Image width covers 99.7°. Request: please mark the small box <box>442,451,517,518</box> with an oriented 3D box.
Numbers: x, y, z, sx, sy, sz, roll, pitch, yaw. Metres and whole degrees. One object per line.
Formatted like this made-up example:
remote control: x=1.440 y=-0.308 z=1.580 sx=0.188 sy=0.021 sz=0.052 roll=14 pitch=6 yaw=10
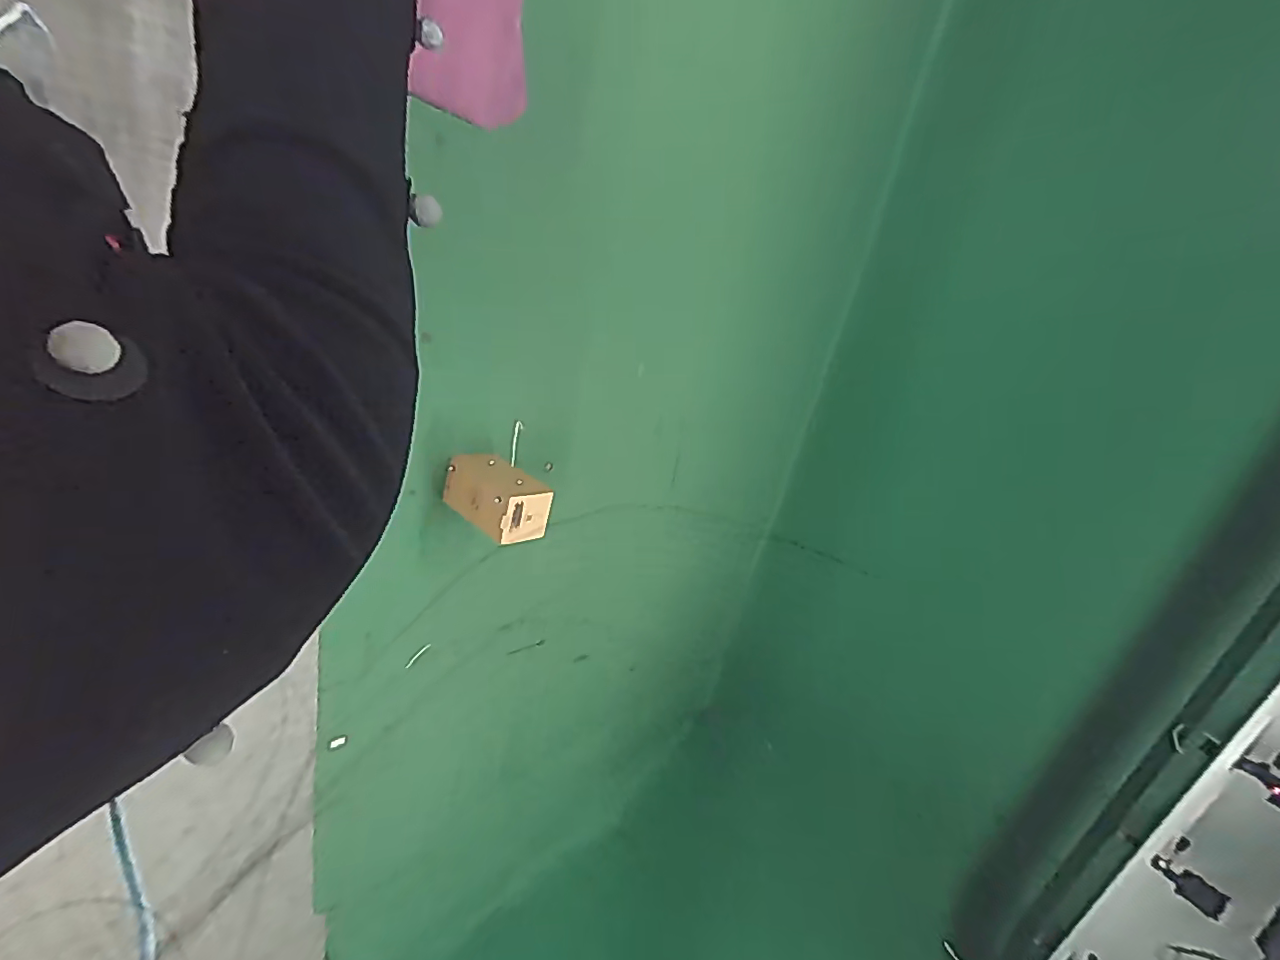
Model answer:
small box: x=-0.545 y=0.011 z=1.822 sx=0.179 sy=0.176 sz=0.168 roll=-10 pitch=121 yaw=-48
